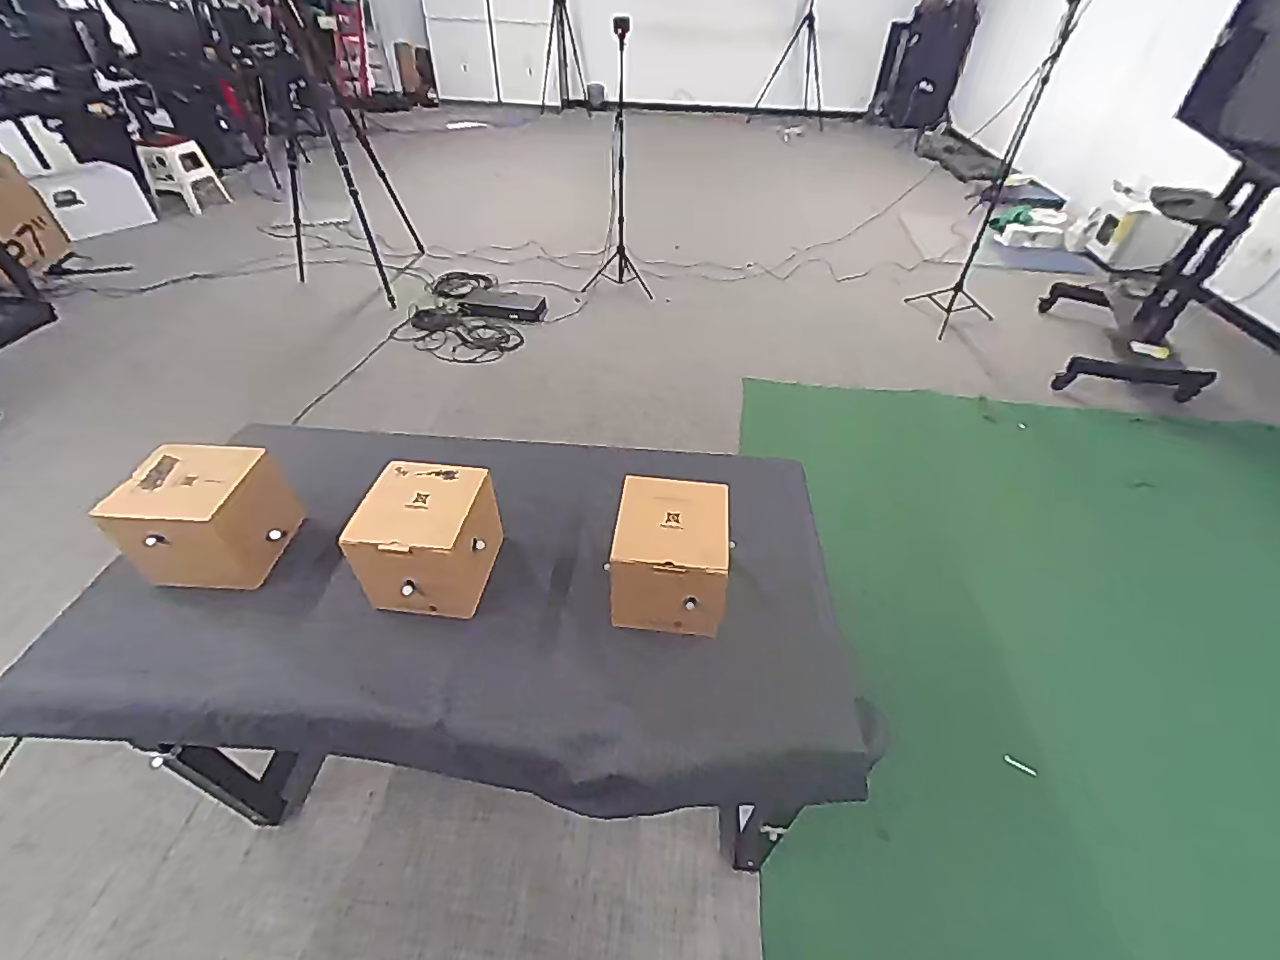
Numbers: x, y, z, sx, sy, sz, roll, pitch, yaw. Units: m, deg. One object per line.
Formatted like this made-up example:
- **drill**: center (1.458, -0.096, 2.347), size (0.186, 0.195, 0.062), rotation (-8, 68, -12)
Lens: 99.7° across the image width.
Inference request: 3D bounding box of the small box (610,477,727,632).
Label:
- **small box**: center (0.046, 0.120, 0.861), size (0.168, 0.176, 0.179), rotation (6, 42, 3)

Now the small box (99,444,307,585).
- **small box**: center (-0.699, 0.059, 0.894), size (0.179, 0.176, 0.168), rotation (3, 43, -1)

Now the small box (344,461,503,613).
- **small box**: center (-0.331, 0.094, 0.873), size (0.168, 0.176, 0.179), rotation (5, 44, 3)
